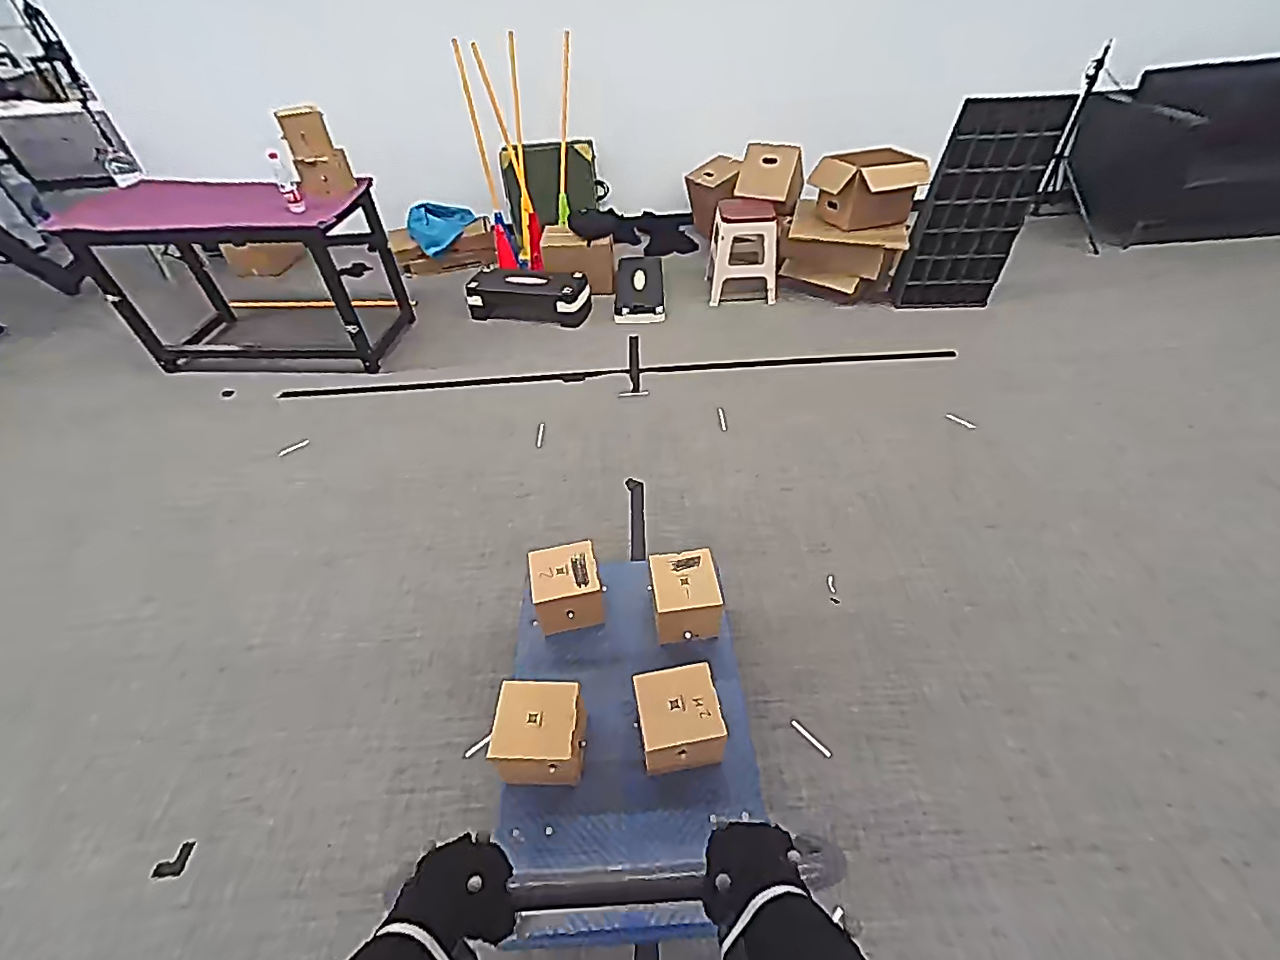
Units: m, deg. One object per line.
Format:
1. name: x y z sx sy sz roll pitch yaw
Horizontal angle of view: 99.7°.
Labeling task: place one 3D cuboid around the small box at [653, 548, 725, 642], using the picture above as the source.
1. small box: 0.123 0.306 1.440 0.168 0.176 0.179 -6 47 -2

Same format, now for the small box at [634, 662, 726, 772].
1. small box: 0.088 0.536 1.218 0.179 0.176 0.168 -8 46 -4

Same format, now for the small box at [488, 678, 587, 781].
1. small box: -0.220 0.562 1.214 0.179 0.176 0.168 1 45 2
